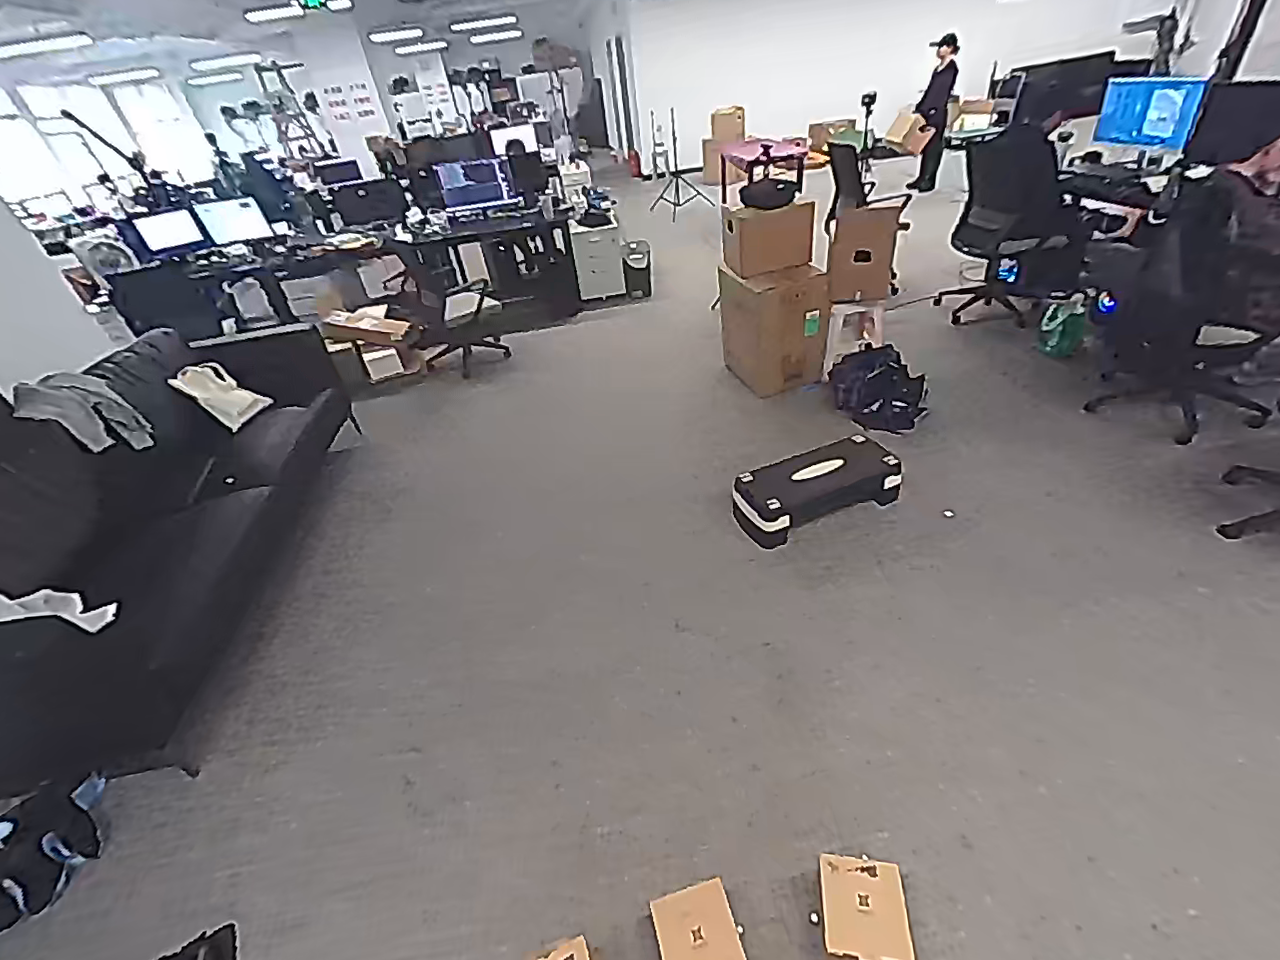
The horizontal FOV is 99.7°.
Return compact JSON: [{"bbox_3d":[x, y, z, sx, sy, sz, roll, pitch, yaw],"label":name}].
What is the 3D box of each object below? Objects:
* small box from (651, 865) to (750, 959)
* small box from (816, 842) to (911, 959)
[{"bbox_3d":[0.133,0.991,1.178,0.168,0.176,0.179,-14,37,-8],"label":"small box"},{"bbox_3d":[0.478,0.929,1.179,0.168,0.176,0.179,0,39,13],"label":"small box"}]
